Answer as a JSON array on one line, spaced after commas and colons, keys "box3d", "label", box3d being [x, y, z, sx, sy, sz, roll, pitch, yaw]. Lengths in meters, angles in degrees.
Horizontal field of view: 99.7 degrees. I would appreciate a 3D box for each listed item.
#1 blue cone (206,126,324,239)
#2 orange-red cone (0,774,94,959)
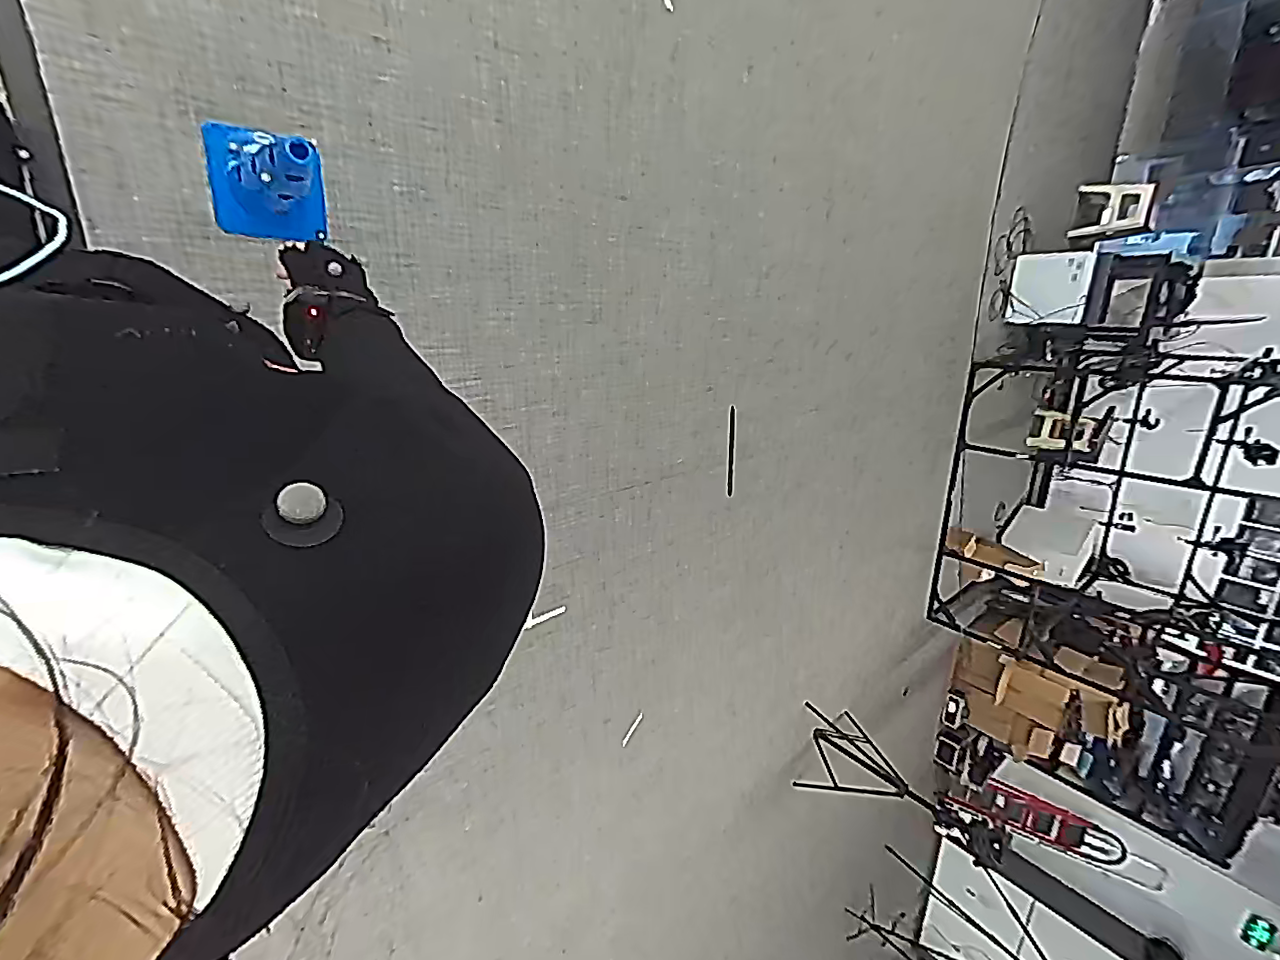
[{"box3d": [-0.660, -0.569, 0.995, 0.192, 0.380, 0.193, -9, 109, -40], "label": "blue cone"}, {"box3d": [-1.141, 0.745, 0.962, 0.199, 0.360, 0.198, -7, 106, -39], "label": "orange-red cone"}]
